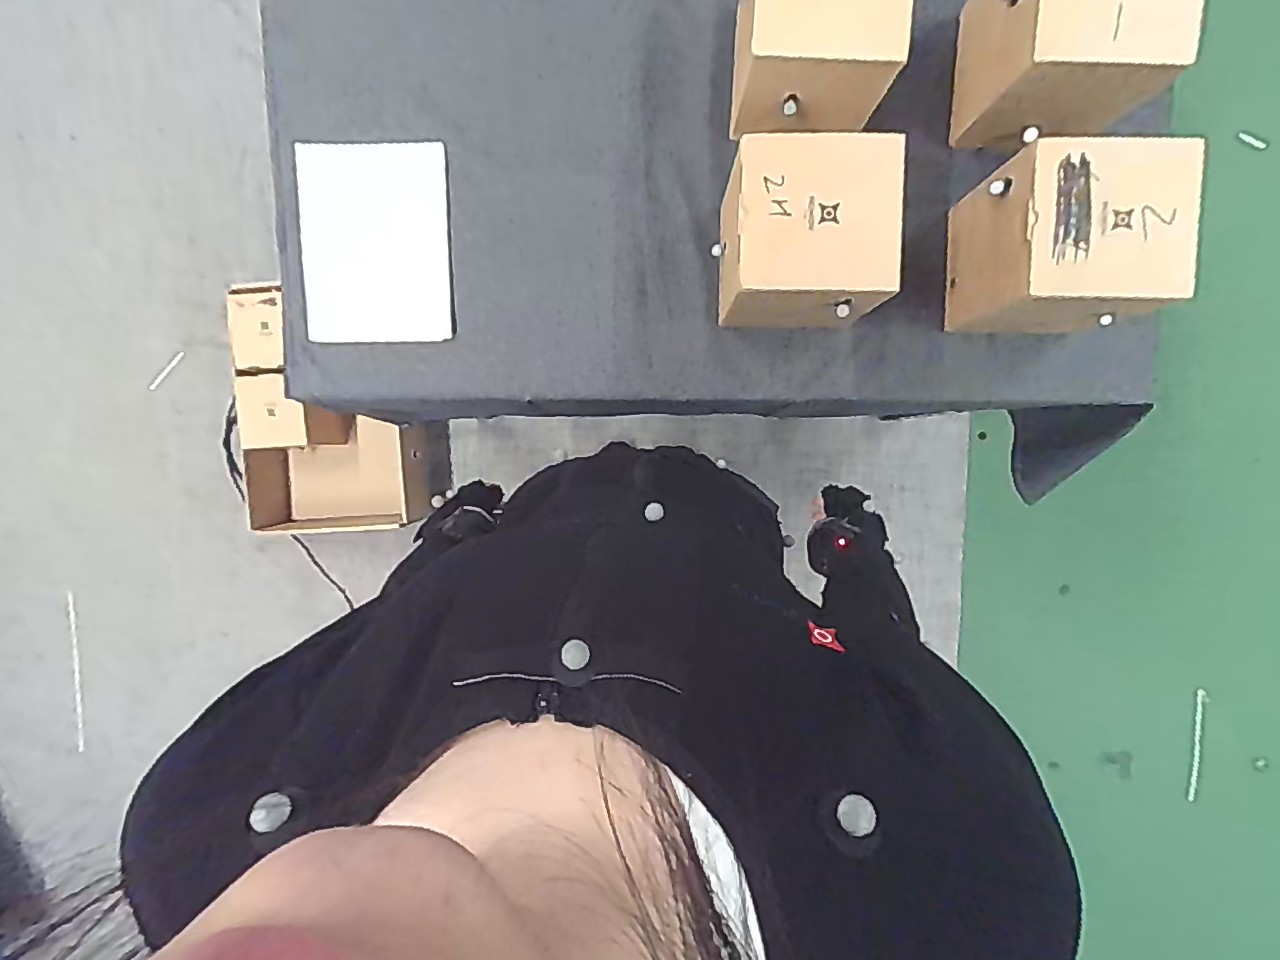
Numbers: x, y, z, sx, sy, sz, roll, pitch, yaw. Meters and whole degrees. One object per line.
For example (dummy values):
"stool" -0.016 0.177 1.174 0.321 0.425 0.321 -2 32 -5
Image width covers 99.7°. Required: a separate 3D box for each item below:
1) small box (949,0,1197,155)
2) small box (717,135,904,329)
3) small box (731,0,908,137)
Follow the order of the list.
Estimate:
"small box" 0.493 -0.521 0.637 0.168 0.176 0.179 3 94 2
"small box" 0.193 -0.286 0.657 0.179 0.176 0.168 1 92 2
"small box" 0.204 -0.532 0.646 0.168 0.176 0.179 3 93 1
